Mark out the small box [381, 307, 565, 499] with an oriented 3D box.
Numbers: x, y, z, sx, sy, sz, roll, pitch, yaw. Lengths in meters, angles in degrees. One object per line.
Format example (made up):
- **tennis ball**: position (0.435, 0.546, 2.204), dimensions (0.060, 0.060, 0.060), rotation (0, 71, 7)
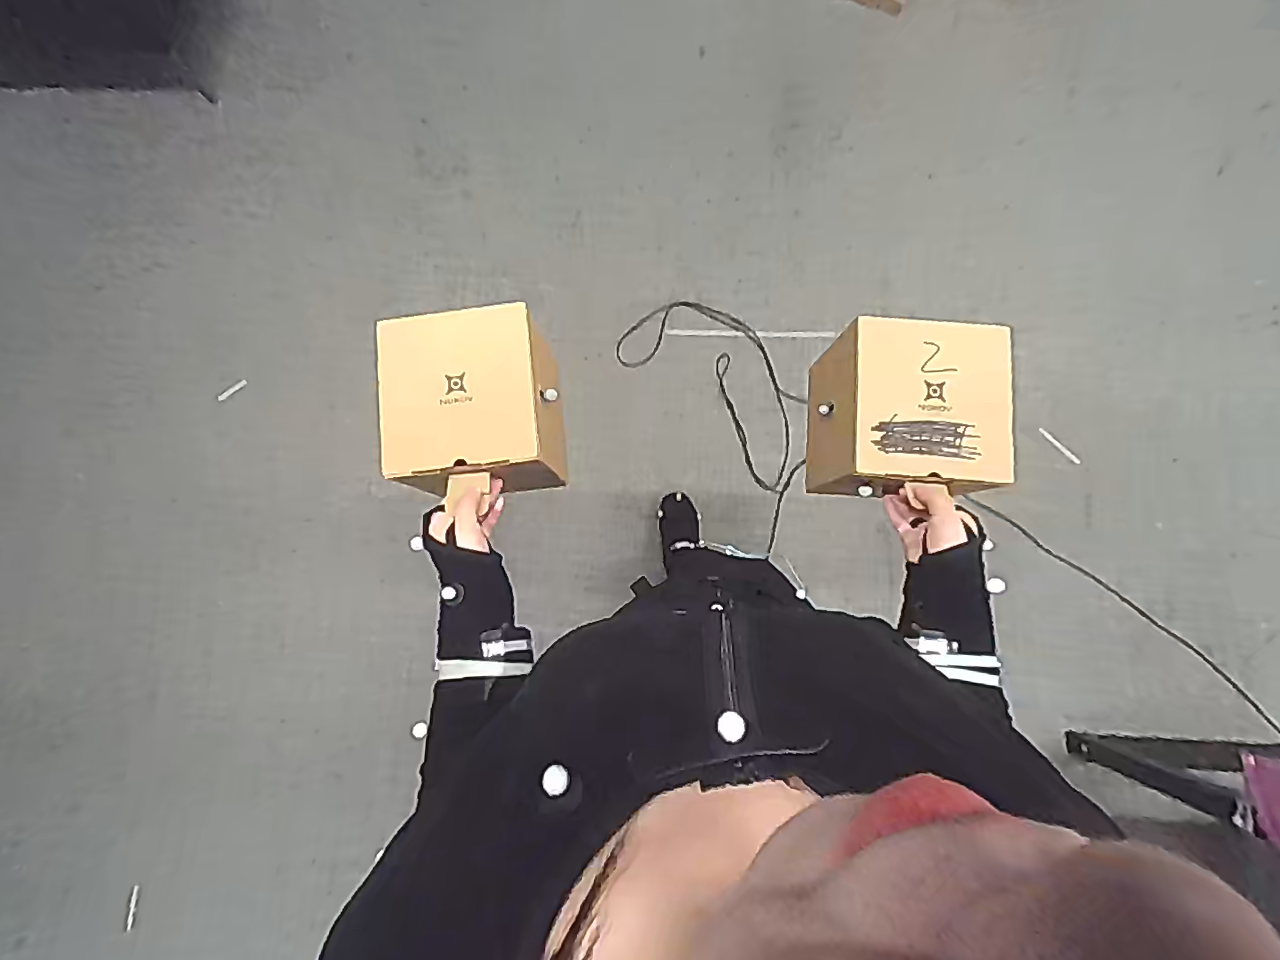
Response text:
- **small box**: position (-0.188, -0.081, 0.647), dimensions (0.168, 0.176, 0.179), rotation (-7, 81, 1)
